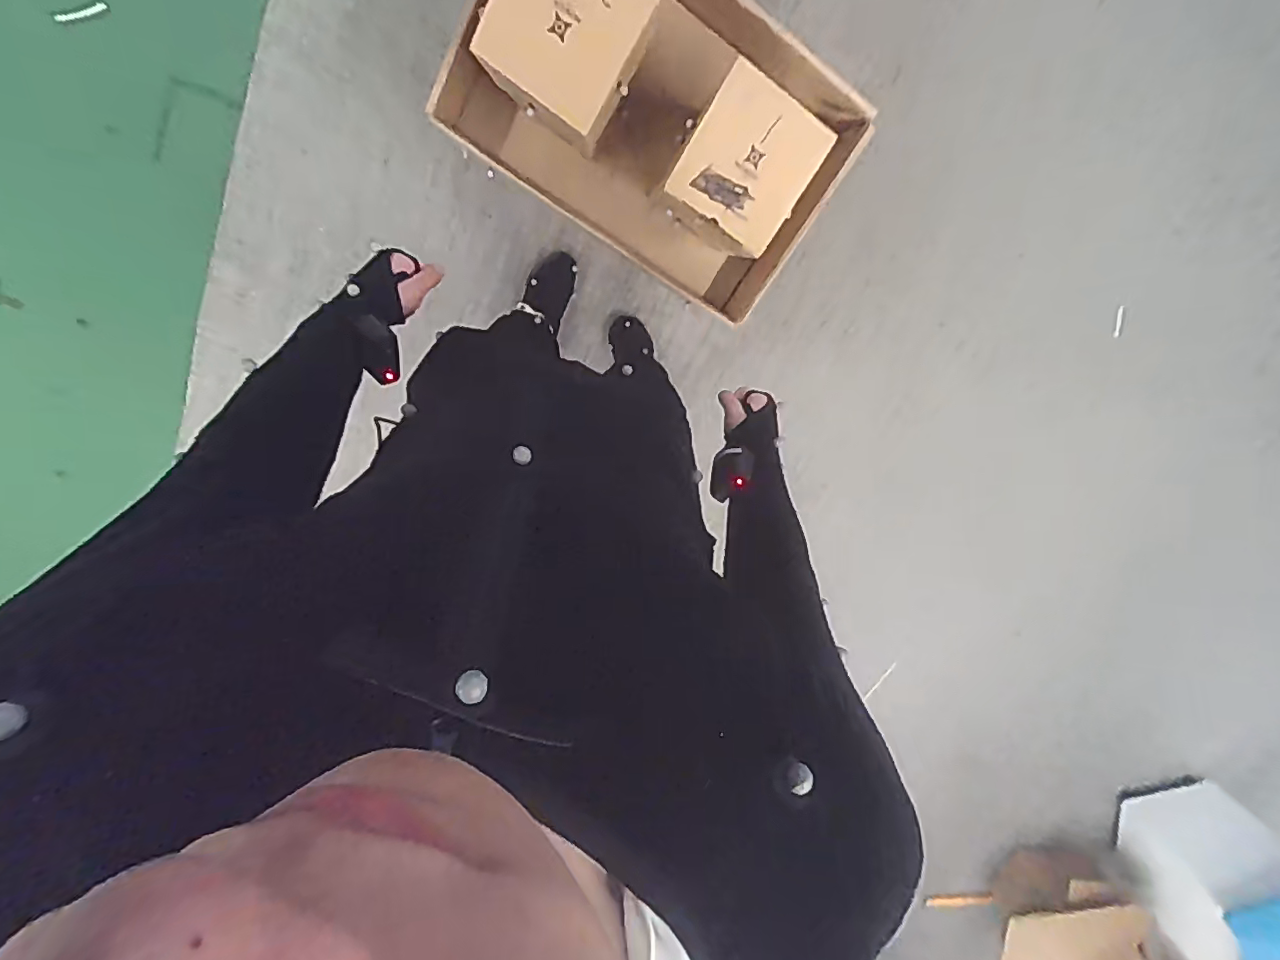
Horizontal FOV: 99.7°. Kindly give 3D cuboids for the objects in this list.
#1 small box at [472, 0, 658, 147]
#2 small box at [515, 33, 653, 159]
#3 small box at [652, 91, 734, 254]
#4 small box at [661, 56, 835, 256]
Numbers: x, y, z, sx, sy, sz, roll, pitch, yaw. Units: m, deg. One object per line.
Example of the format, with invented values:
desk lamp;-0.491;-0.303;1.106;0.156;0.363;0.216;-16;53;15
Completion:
small box;-0.093;-0.578;0.717;0.168;0.176;0.179;30;110;-16
small box;-0.099;-0.653;0.863;0.168;0.176;0.179;33;108;-14
small box;0.133;-0.518;0.938;0.168;0.176;0.179;30;109;-15
small box;0.142;-0.451;0.788;0.168;0.176;0.179;29;109;-15
